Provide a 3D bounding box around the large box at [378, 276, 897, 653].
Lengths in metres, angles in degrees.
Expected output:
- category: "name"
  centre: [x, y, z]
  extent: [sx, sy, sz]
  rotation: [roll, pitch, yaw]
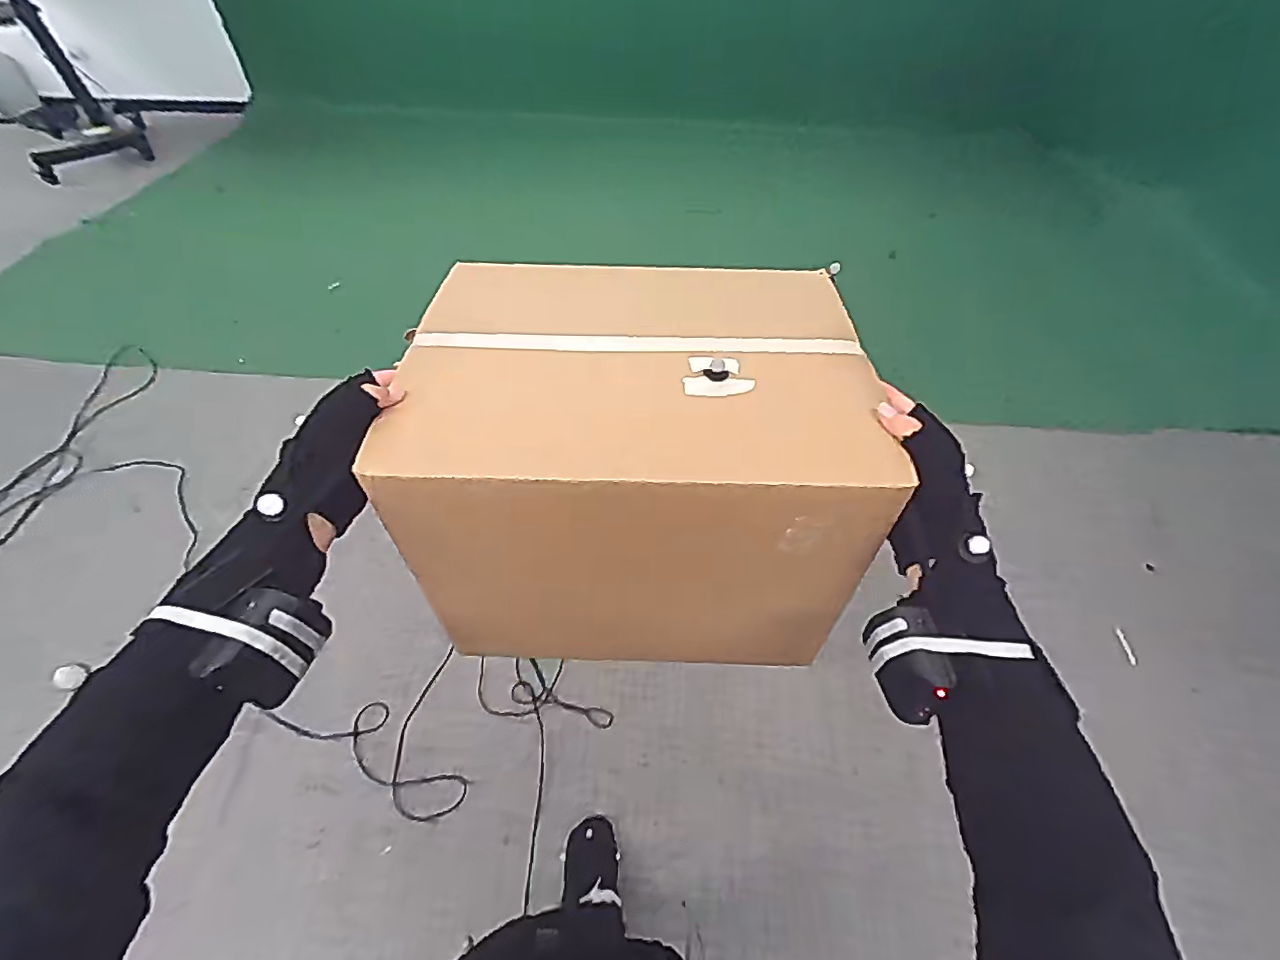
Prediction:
- category: "large box"
  centre: [-0.006, -0.012, 0.614]
  extent: [0.408, 0.320, 0.320]
  rotation: [2, 48, -1]
